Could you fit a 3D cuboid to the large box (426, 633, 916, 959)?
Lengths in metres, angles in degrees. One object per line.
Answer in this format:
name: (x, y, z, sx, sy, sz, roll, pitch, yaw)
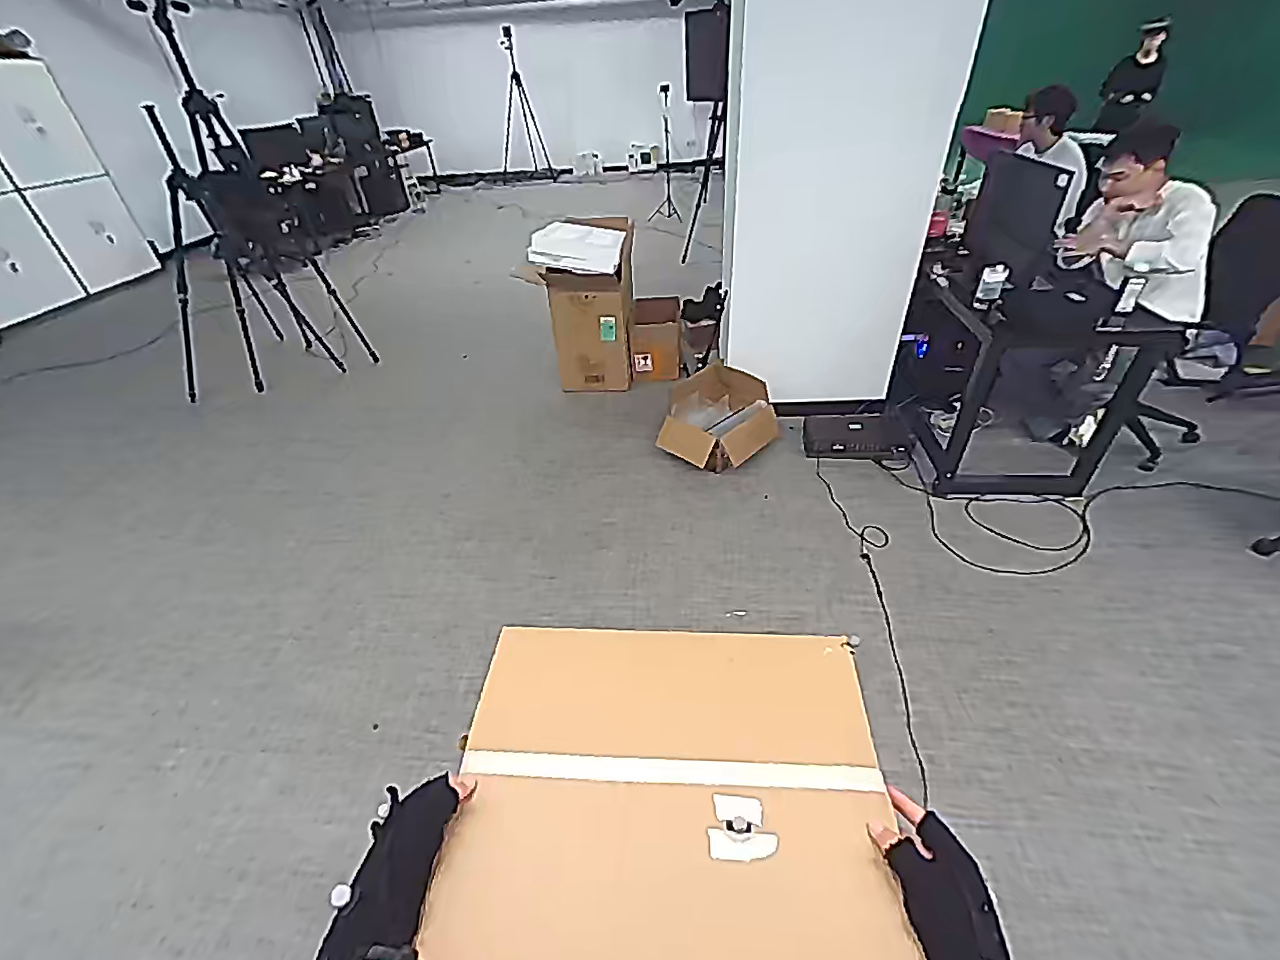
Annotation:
large box: (0.032, 0.403, 0.637, 0.408, 0.320, 0.320, 1, 42, 4)
